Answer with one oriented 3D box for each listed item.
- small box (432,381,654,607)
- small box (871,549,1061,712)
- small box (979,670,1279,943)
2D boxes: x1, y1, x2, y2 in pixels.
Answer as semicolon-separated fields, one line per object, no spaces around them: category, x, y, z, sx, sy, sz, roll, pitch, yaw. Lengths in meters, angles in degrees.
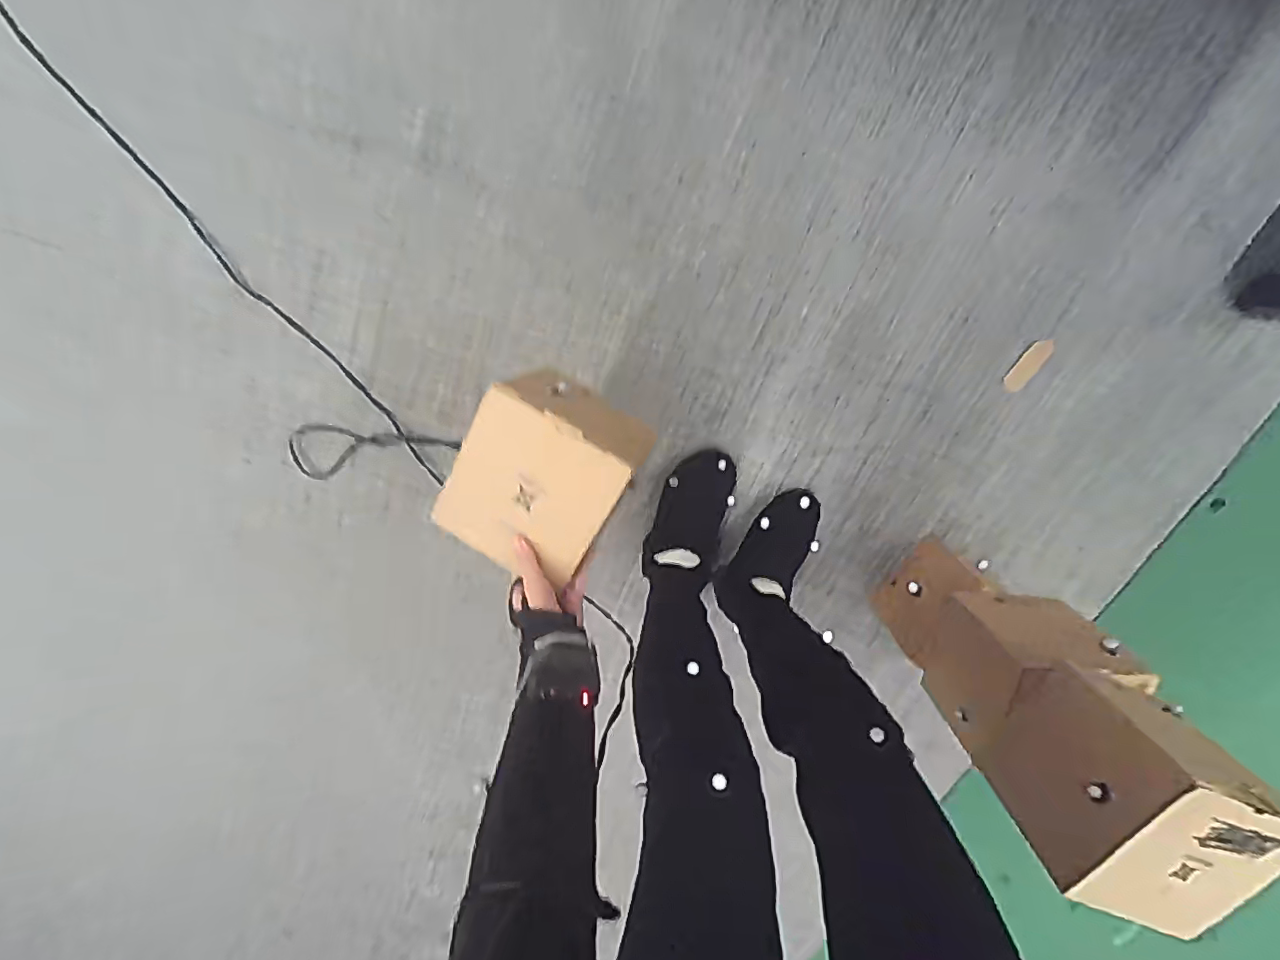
small box;-0.097;0.003;0.621;0.168;0.176;0.179;33;110;2
small box;0.527;0.239;0.905;0.179;0.176;0.168;32;108;-10
small box;0.525;0.345;0.593;0.168;0.176;0.179;24;110;-8
